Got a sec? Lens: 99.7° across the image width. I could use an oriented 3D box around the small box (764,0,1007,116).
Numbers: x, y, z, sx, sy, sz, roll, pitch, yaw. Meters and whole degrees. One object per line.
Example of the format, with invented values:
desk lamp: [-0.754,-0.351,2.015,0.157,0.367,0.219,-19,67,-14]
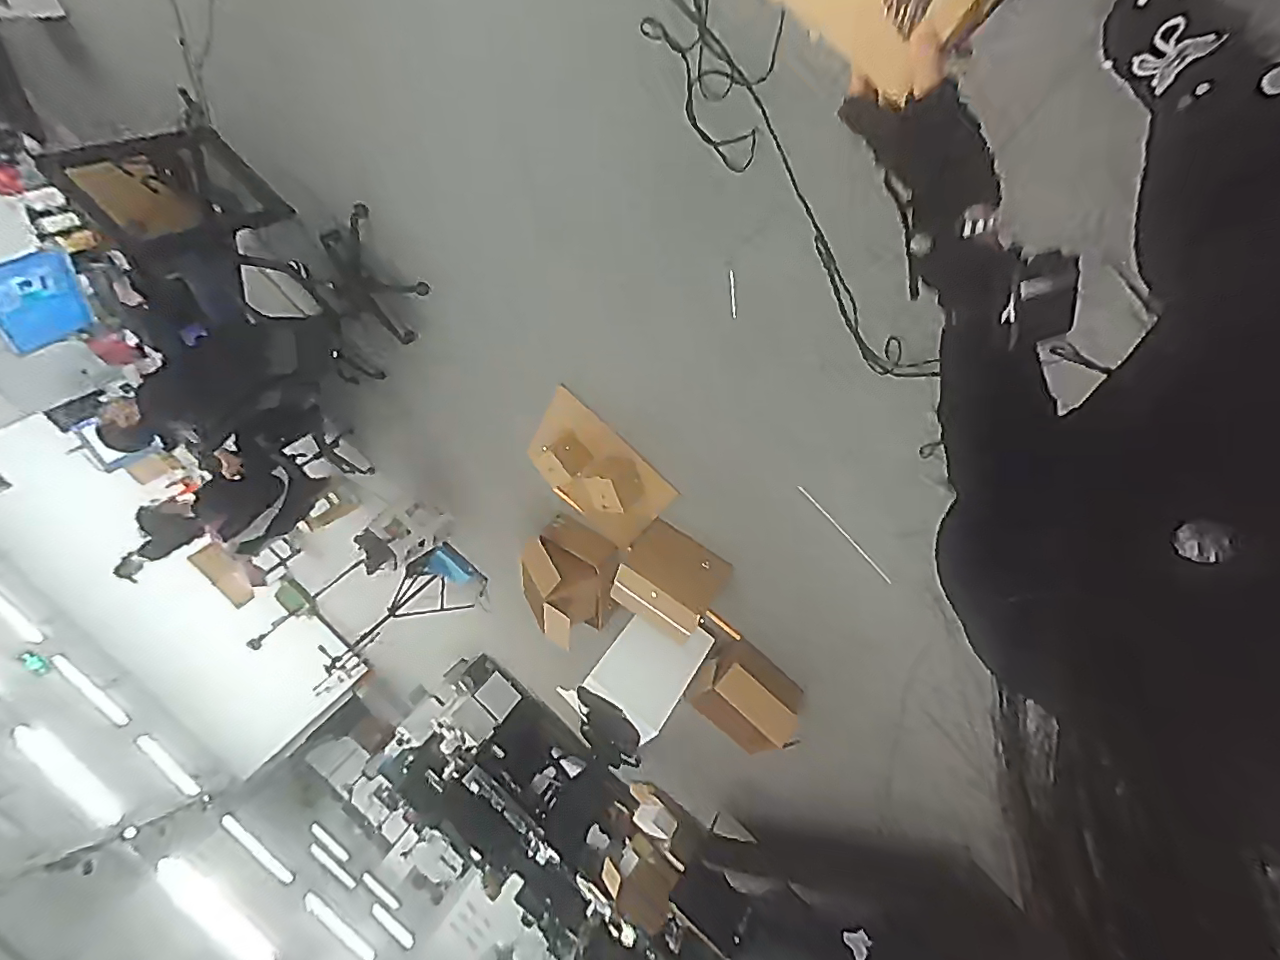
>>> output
small box: [0.199,-0.404,0.382,0.179,0.176,0.168,40,138,0]
